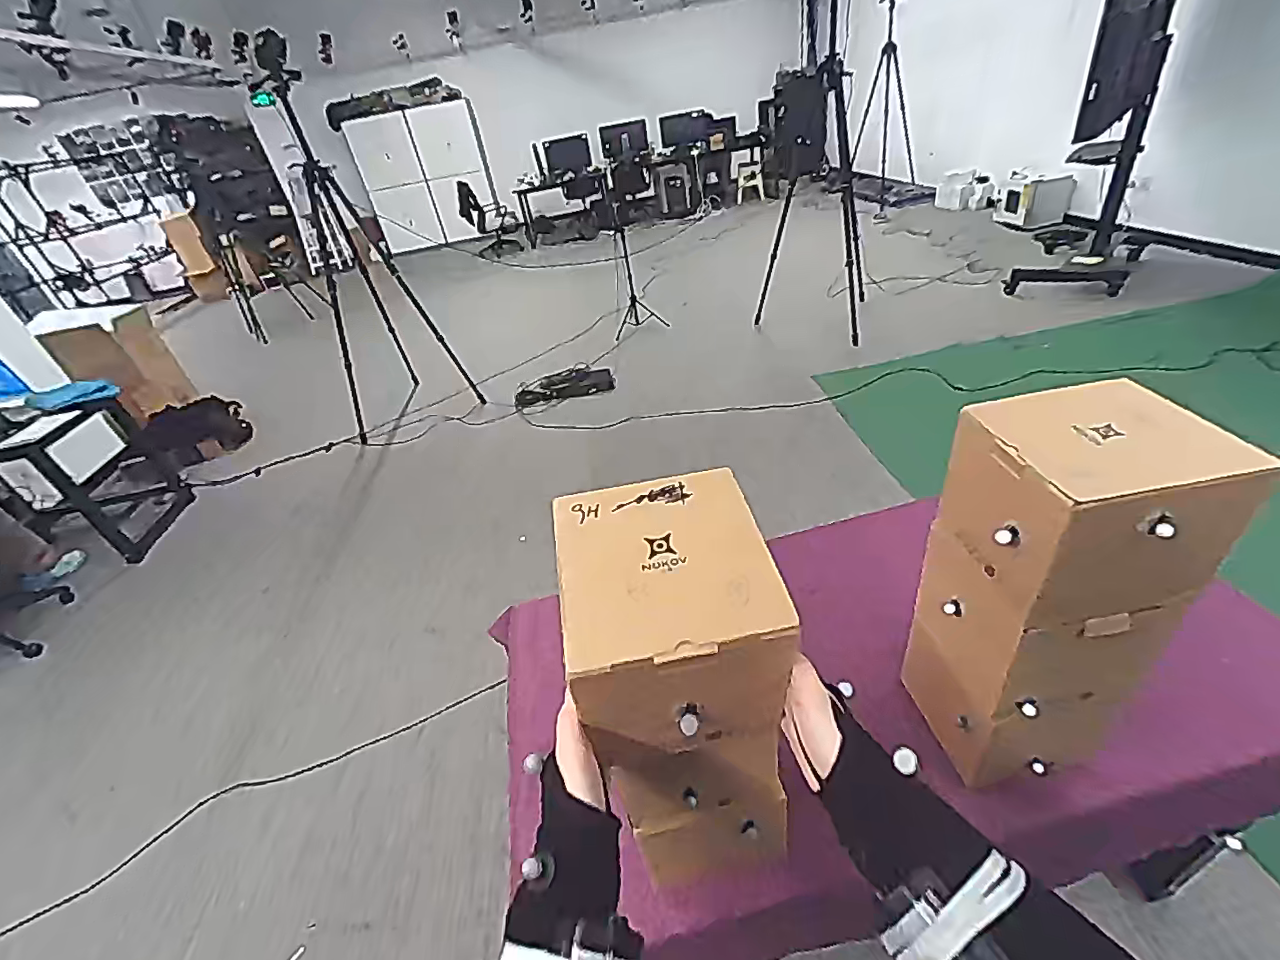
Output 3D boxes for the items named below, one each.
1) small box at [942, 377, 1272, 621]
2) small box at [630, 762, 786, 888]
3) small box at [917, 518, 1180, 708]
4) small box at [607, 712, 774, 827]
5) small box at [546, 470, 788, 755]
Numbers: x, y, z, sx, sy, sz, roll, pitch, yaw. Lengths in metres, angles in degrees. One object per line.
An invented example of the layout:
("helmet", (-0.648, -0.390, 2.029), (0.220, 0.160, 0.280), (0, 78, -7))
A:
("small box", (0.432, 0.021, 0.545), (0.179, 0.176, 0.168), (-10, 36, 2))
("small box", (0.079, 0.392, 0.705), (0.179, 0.176, 0.168), (-13, 34, -1))
("small box", (0.457, 0.148, 0.644), (0.168, 0.176, 0.179), (-12, 34, 1))
("small box", (0.047, 0.256, 0.620), (0.168, 0.176, 0.179), (-12, 36, -1))
("small box", (0.017, 0.121, 0.477), (0.168, 0.176, 0.179), (-10, 44, -3))
